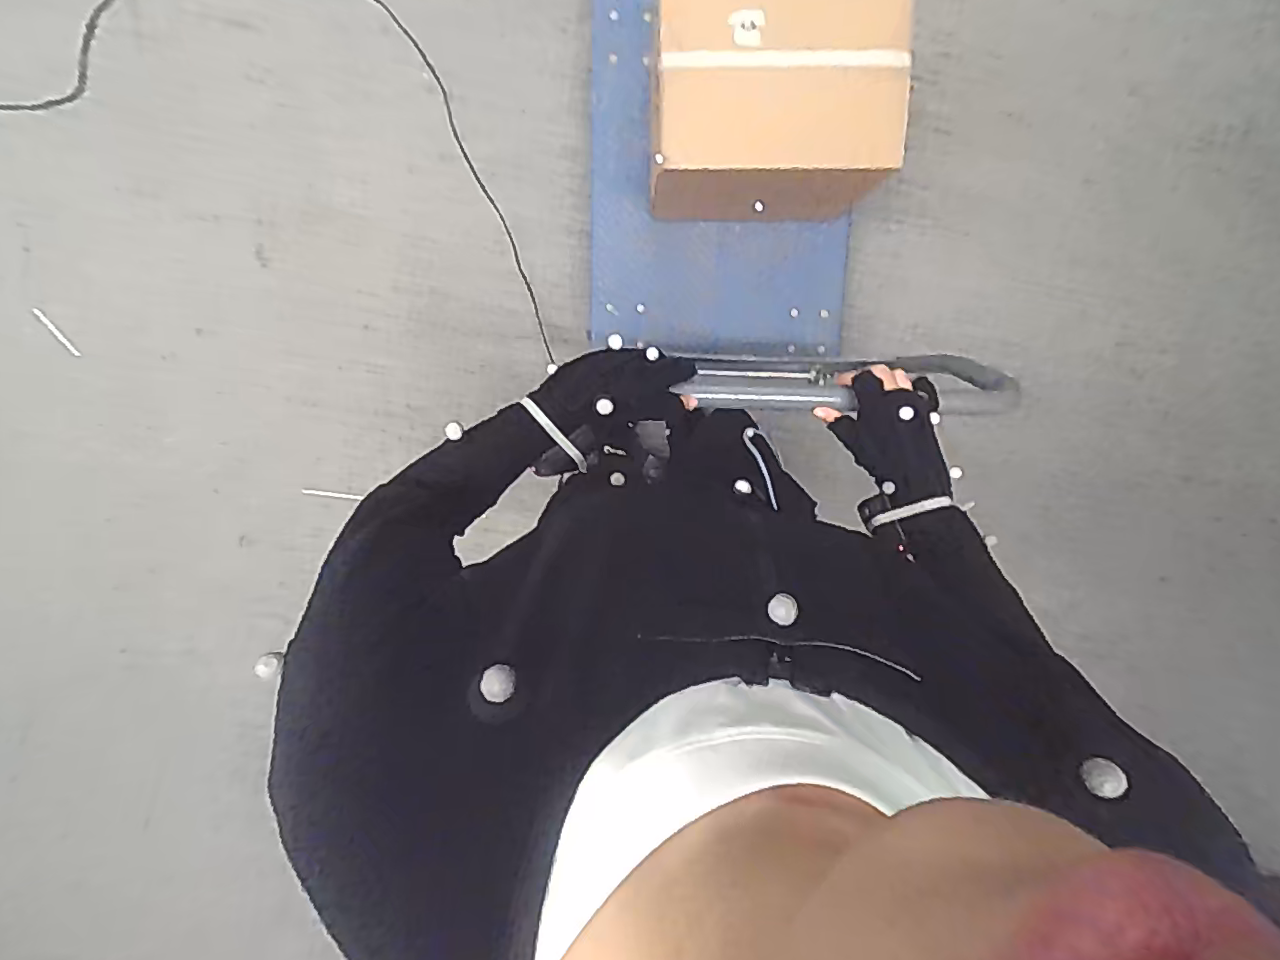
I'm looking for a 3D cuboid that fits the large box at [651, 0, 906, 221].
[{"bbox_3d":[0.229,-0.698,1.022,0.408,0.320,0.320,-2,100,-1],"label":"large box"}]
